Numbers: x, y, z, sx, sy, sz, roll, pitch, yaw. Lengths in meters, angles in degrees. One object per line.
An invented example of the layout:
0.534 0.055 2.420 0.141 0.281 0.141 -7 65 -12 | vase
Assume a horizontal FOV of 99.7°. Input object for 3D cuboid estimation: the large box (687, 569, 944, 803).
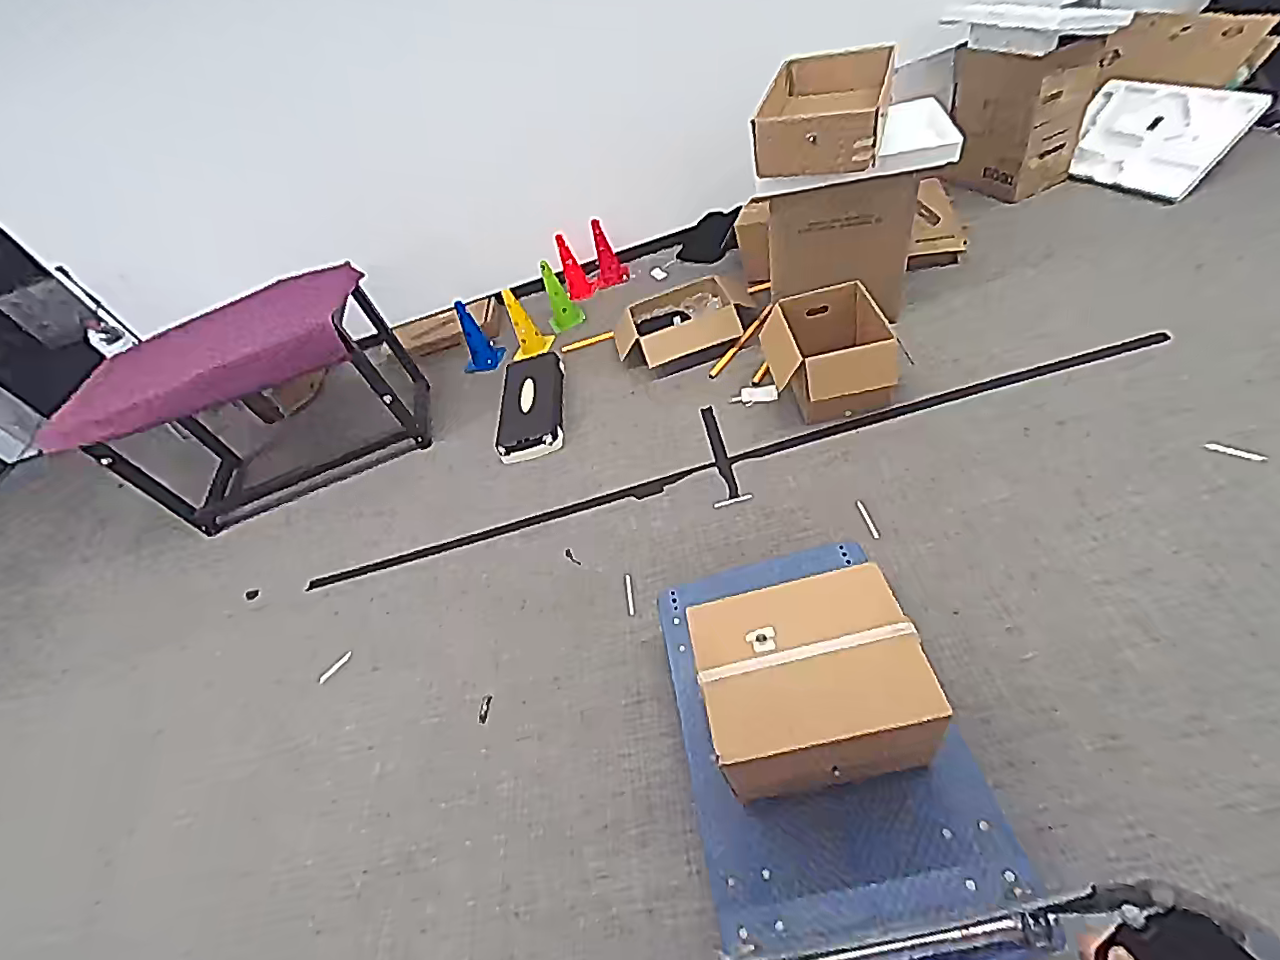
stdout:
0.350 0.444 1.142 0.408 0.320 0.320 -17 45 7 | large box
